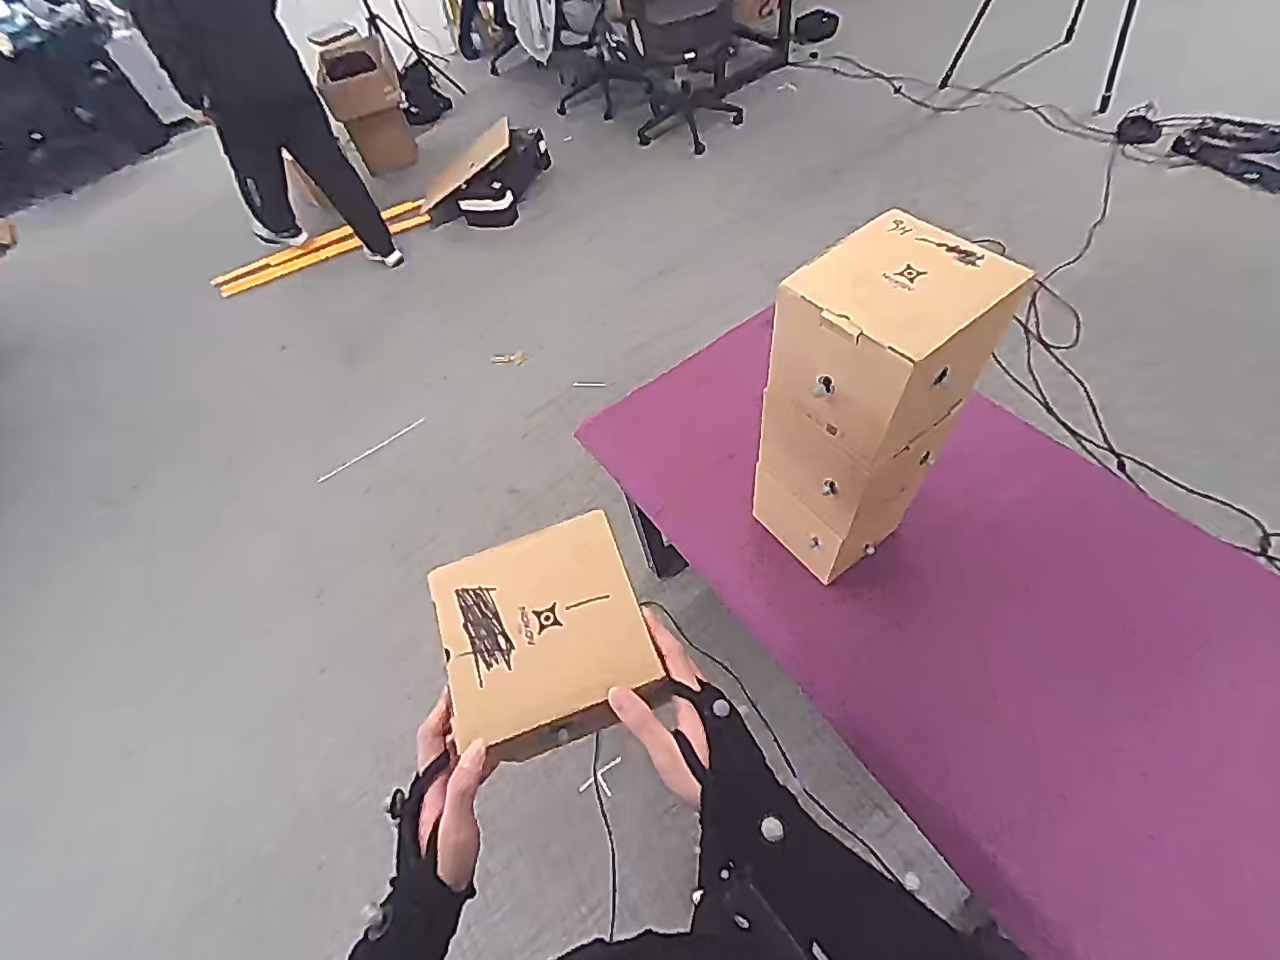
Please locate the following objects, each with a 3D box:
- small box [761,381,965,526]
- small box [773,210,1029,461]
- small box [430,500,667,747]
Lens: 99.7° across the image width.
[{"bbox_3d":[0.283,-0.060,0.729,0.168,0.176,0.179,-34,58,-13],"label":"small box"},{"bbox_3d":[0.265,-0.152,0.596,0.179,0.176,0.168,-35,59,-13],"label":"small box"},{"bbox_3d":[-0.082,0.151,0.540,0.179,0.176,0.168,-19,61,-5],"label":"small box"}]
